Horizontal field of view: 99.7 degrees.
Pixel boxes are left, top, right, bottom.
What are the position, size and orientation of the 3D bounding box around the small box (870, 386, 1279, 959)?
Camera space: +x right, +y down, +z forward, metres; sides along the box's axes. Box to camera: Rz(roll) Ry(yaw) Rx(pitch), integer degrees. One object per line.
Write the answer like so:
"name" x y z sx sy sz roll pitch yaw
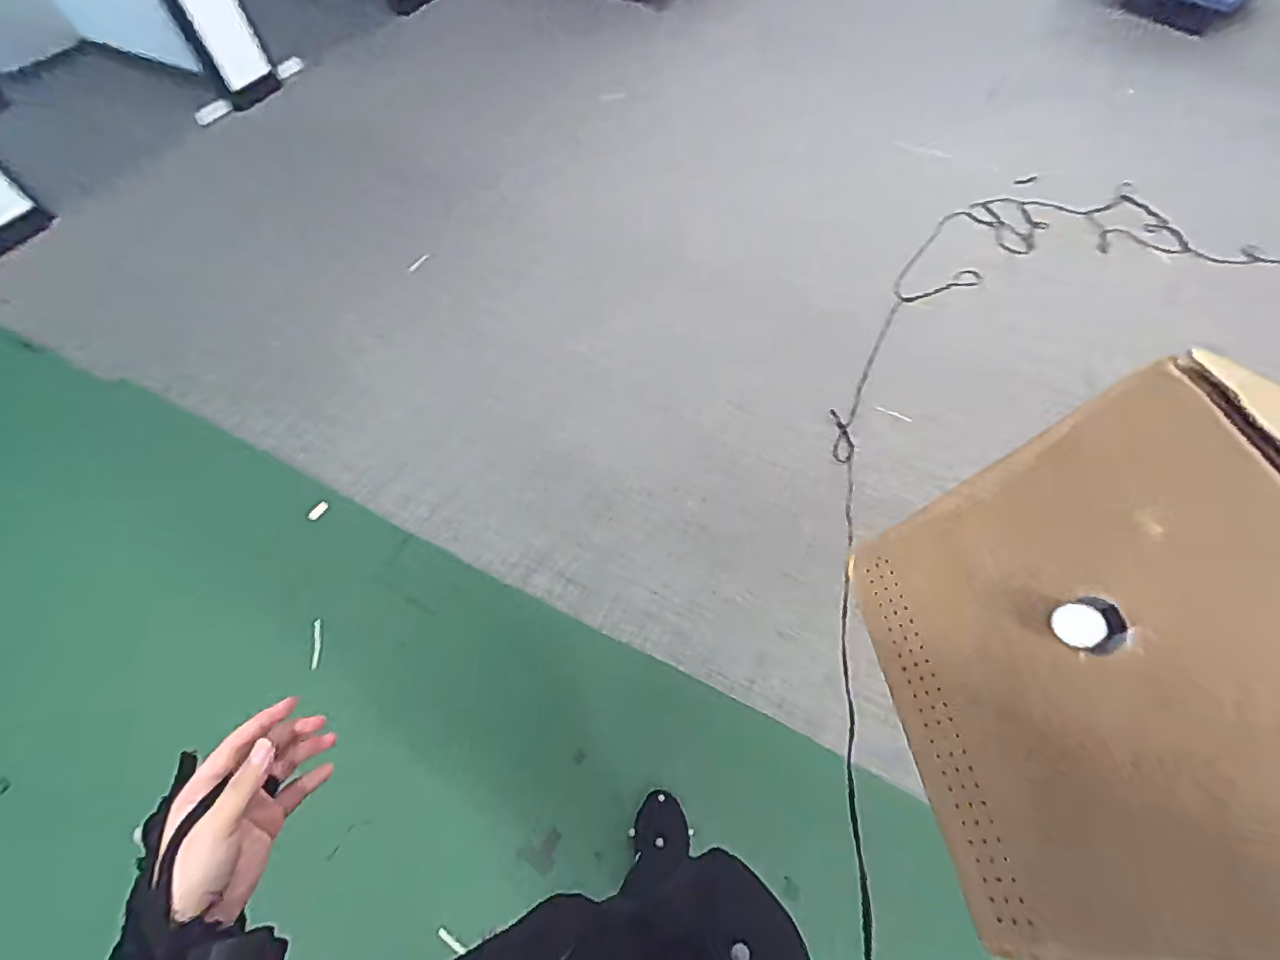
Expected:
"small box" 0.238 0.090 0.236 0.168 0.176 0.179 6 54 -23
